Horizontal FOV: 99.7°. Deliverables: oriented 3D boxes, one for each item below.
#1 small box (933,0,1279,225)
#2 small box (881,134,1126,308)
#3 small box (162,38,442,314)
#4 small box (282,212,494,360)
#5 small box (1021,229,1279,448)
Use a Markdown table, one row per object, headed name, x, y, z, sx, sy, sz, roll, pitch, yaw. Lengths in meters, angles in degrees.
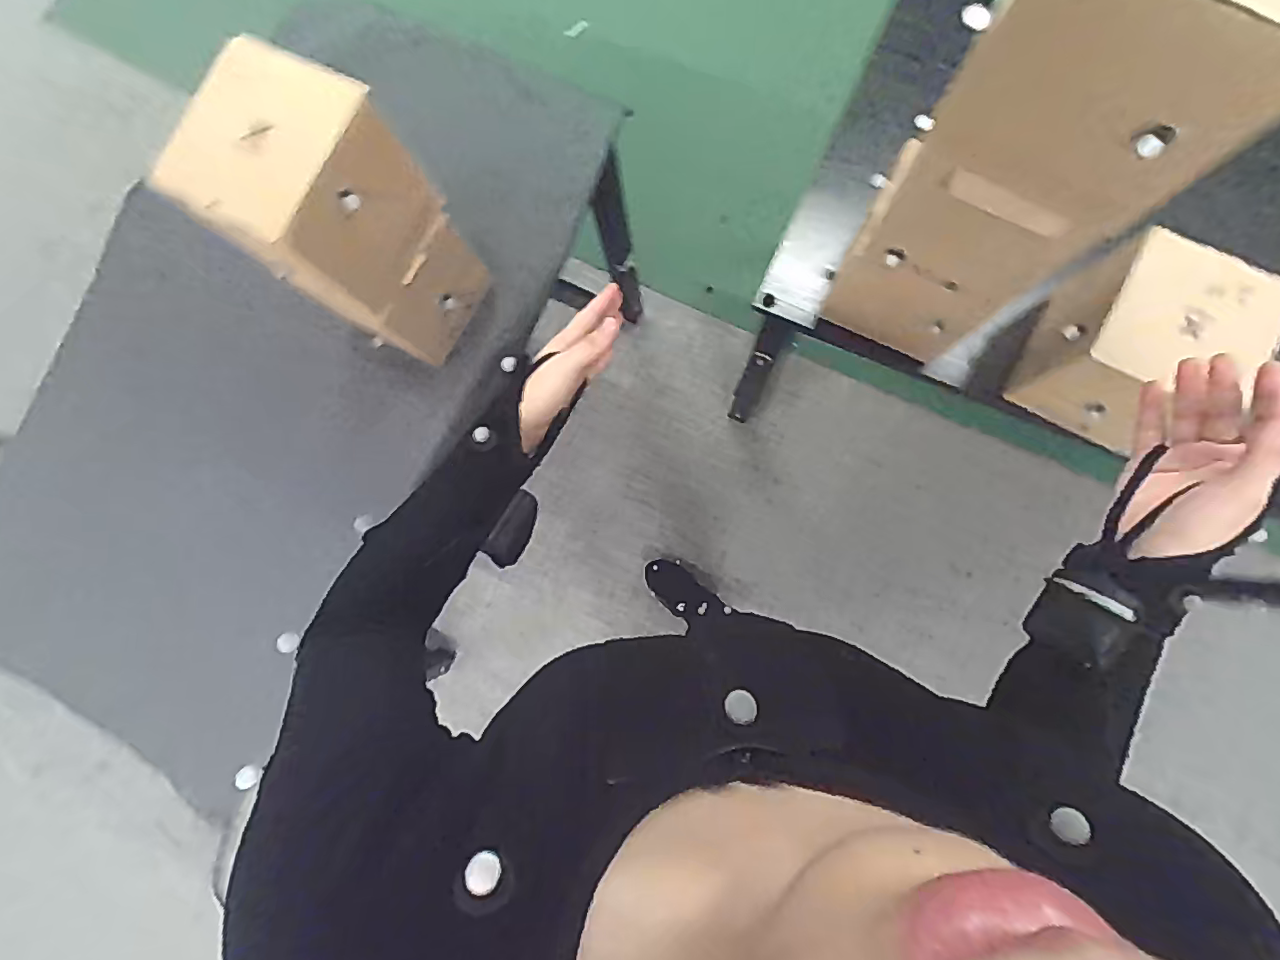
| name | x | y | z | sx | sy | sz | roll | pitch | yaw |
| --- | --- | --- | --- | --- | --- | --- | --- | --- | --- |
| small box | 0.352 | -0.315 | 0.375 | 0.179 | 0.176 | 0.168 | 29 | 84 | 7 |
| small box | 0.368 | -0.303 | 0.537 | 0.168 | 0.176 | 0.179 | 29 | 85 | 6 |
| small box | -0.350 | -0.320 | 0.601 | 0.168 | 0.176 | 0.179 | 27 | 87 | 9 |
| small box | -0.337 | -0.290 | 0.761 | 0.179 | 0.176 | 0.168 | 29 | 87 | 9 |
| small box | 0.619 | -0.158 | 0.664 | 0.168 | 0.176 | 0.179 | 29 | 86 | 7 |
